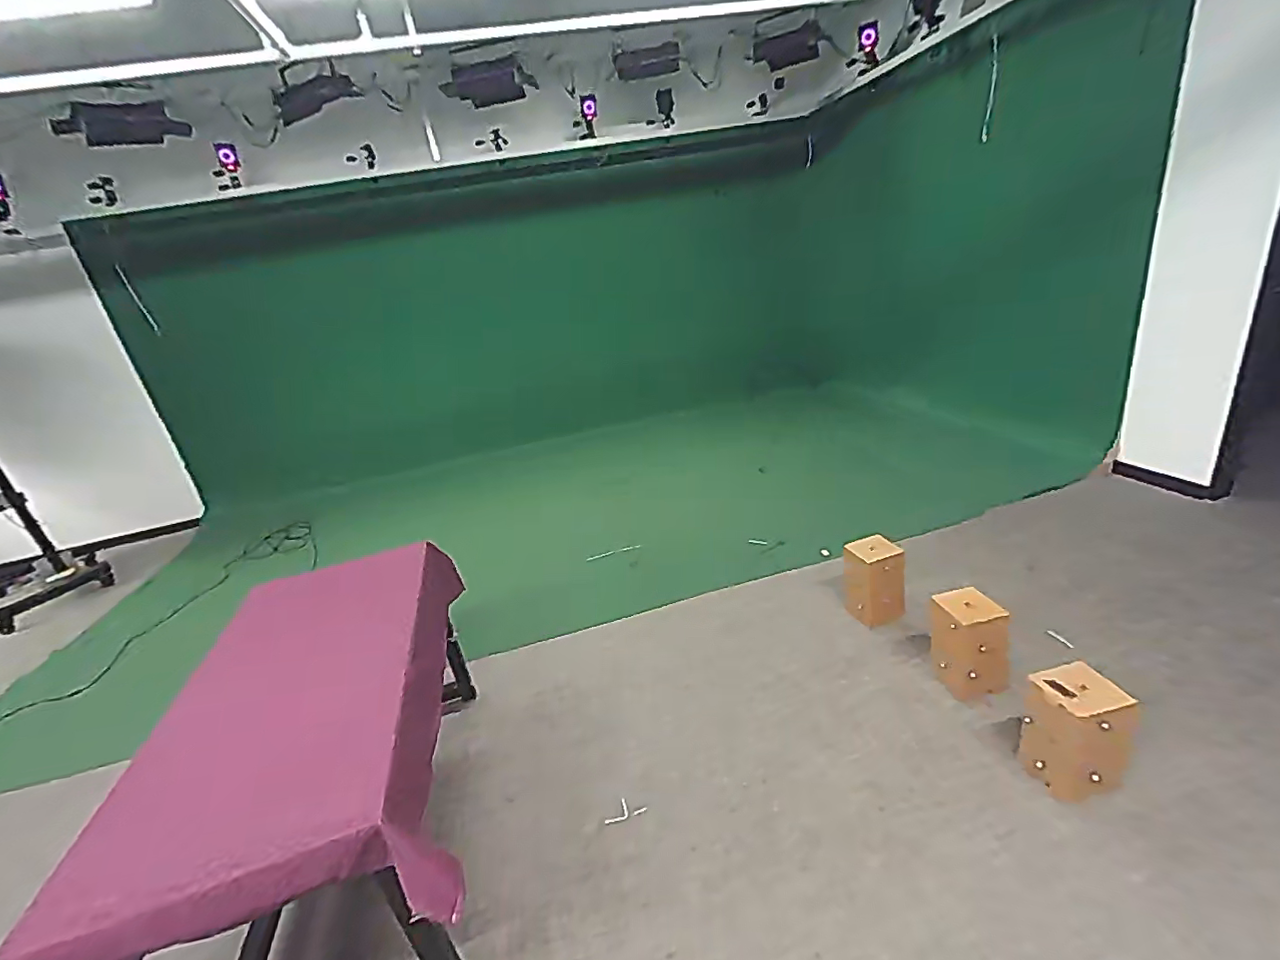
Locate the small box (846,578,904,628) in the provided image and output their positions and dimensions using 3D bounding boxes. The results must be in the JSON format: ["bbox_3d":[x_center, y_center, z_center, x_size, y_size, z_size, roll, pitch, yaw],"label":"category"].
[{"bbox_3d":[1.015,0.512,2.335,0.179,0.176,0.168,-14,23,-10],"label":"small box"}]

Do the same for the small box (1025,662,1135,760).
[{"bbox_3d":[1.204,0.639,1.494,0.179,0.176,0.168,-12,22,-5],"label":"small box"}]

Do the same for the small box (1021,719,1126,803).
[{"bbox_3d":[1.237,0.789,1.555,0.179,0.176,0.168,-13,23,-6],"label":"small box"}]

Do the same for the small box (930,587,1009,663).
[{"bbox_3d":[1.130,0.501,1.868,0.168,0.176,0.179,-12,22,-5],"label":"small box"}]

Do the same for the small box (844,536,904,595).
[{"bbox_3d":[0.984,0.361,2.274,0.179,0.176,0.168,-15,24,-11],"label":"small box"}]
